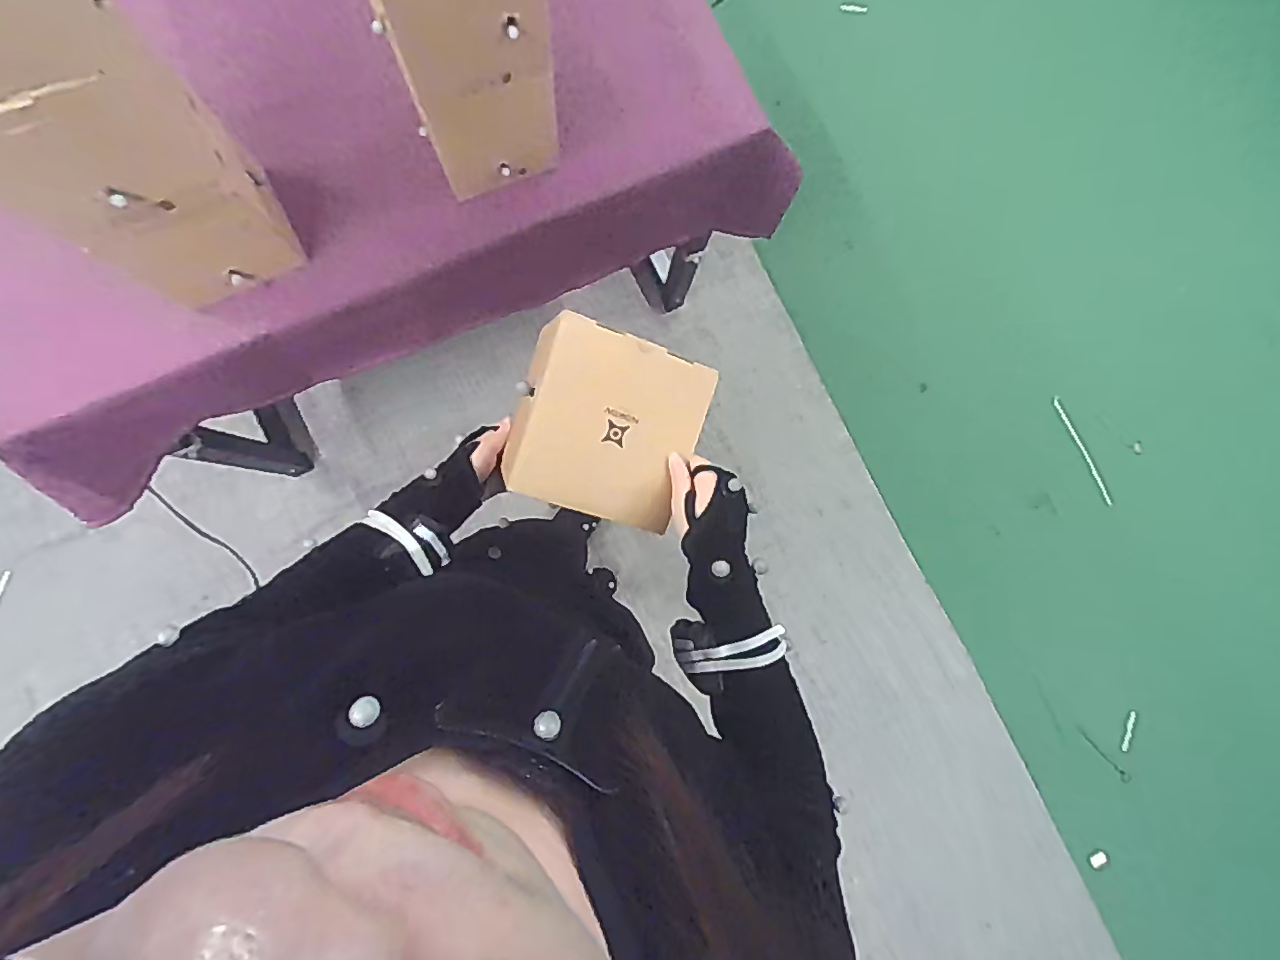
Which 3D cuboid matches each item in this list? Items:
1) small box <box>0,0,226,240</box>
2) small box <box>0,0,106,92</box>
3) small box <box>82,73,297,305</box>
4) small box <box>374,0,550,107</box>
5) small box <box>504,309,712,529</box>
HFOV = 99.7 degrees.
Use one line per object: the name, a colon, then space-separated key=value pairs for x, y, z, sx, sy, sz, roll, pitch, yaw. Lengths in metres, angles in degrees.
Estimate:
small box: x=-0.566 y=-0.377 z=0.530 sx=0.168 sy=0.176 sz=0.179 roll=-26 pitch=88 yaw=-7
small box: x=-0.545 y=-0.394 z=0.367 sx=0.179 sy=0.176 sz=0.168 roll=-24 pitch=88 yaw=-8
small box: x=-0.581 y=-0.358 z=0.693 sx=0.179 sy=0.176 sz=0.168 roll=-27 pitch=88 yaw=-8
small box: x=-0.207 y=-0.548 z=0.582 sx=0.168 sy=0.176 sz=0.179 roll=-25 pitch=88 yaw=-8
small box: x=-0.048 y=-0.065 z=0.597 sx=0.168 sy=0.176 sz=0.179 roll=16 pitch=93 yaw=-19
